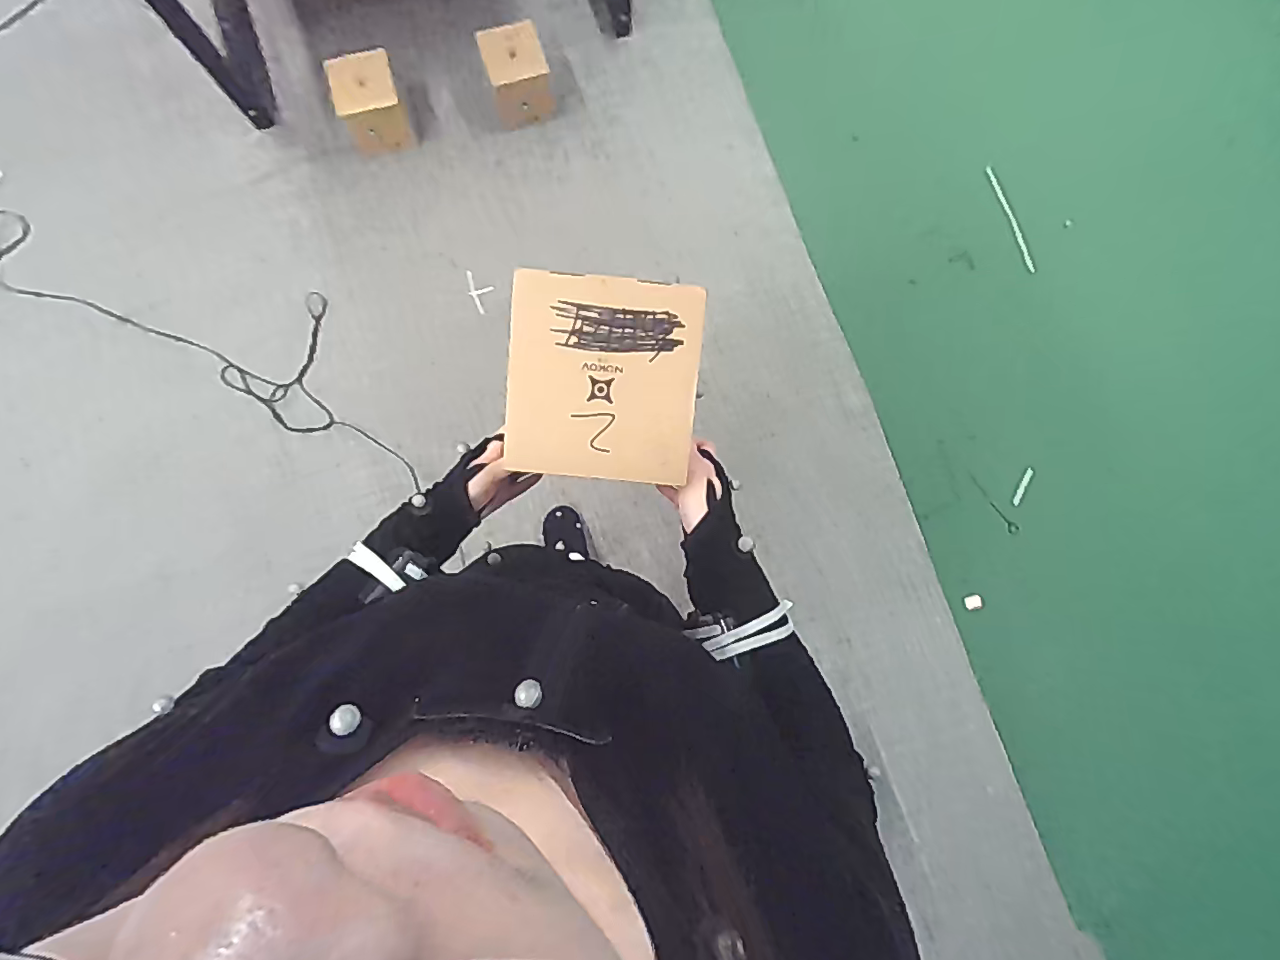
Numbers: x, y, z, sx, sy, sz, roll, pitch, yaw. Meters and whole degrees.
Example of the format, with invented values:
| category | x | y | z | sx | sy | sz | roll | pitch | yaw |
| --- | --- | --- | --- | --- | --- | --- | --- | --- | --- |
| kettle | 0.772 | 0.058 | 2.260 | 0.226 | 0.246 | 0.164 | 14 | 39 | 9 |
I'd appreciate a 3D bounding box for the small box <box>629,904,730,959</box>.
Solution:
| category | x | y | z | sx | sy | sz | roll | pitch | yaw |
| --- | --- | --- | --- | --- | --- | --- | --- | --- | --- |
| small box | 0.089 | 0.894 | 0.926 | 0.168 | 0.176 | 0.179 | -22 | 86 | -7 |
